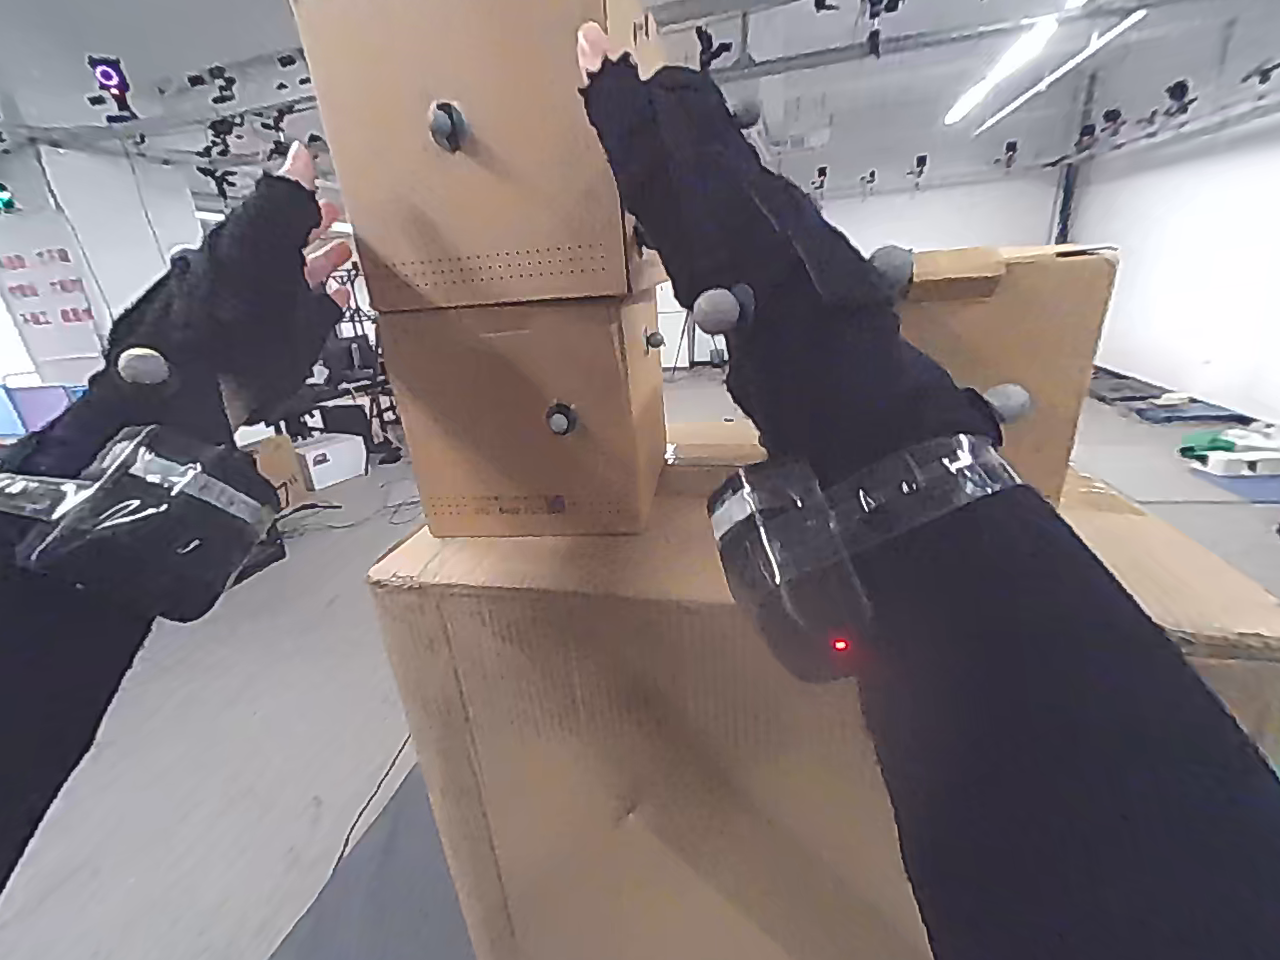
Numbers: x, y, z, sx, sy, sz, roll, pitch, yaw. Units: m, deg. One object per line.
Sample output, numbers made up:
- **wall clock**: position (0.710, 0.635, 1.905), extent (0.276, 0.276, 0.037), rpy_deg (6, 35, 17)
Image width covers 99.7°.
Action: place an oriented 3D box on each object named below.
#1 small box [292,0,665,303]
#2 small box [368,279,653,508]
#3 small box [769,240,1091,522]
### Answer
- **small box**: position (-0.082, -0.215, 0.376), extent (0.179, 0.176, 0.168), rpy_deg (0, 24, 14)
- **small box**: position (-0.080, -0.084, 0.446), extent (0.168, 0.176, 0.179), rpy_deg (-3, 25, 6)
- **small box**: position (0.185, -0.078, 0.409), extent (0.168, 0.176, 0.179), rpy_deg (0, 25, 11)
